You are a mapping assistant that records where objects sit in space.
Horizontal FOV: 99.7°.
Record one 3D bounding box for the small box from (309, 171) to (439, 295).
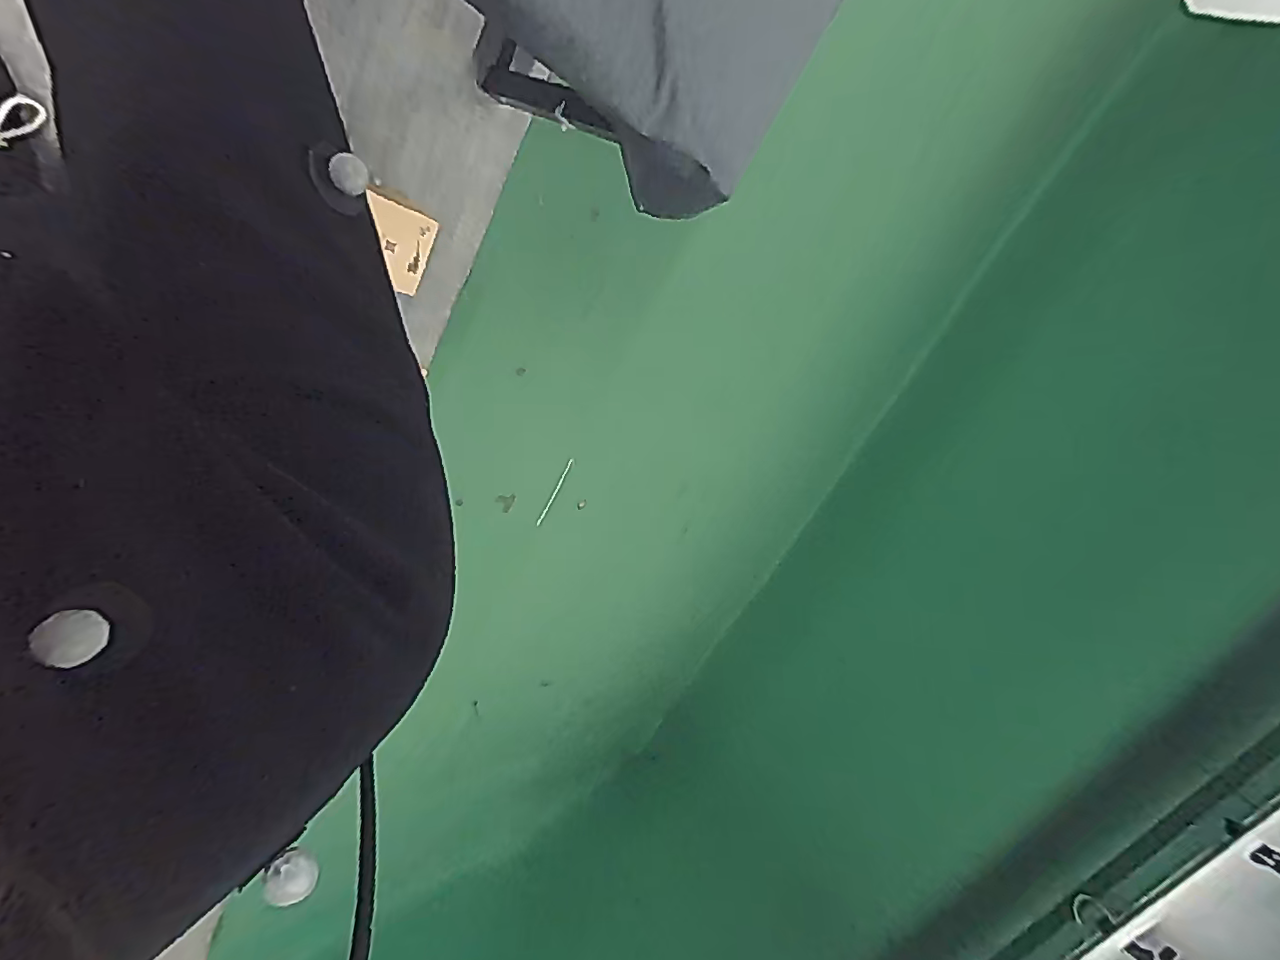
[{"bbox_3d":[-0.556,-0.513,1.118,0.179,0.176,0.168,6,118,-50],"label":"small box"}]
